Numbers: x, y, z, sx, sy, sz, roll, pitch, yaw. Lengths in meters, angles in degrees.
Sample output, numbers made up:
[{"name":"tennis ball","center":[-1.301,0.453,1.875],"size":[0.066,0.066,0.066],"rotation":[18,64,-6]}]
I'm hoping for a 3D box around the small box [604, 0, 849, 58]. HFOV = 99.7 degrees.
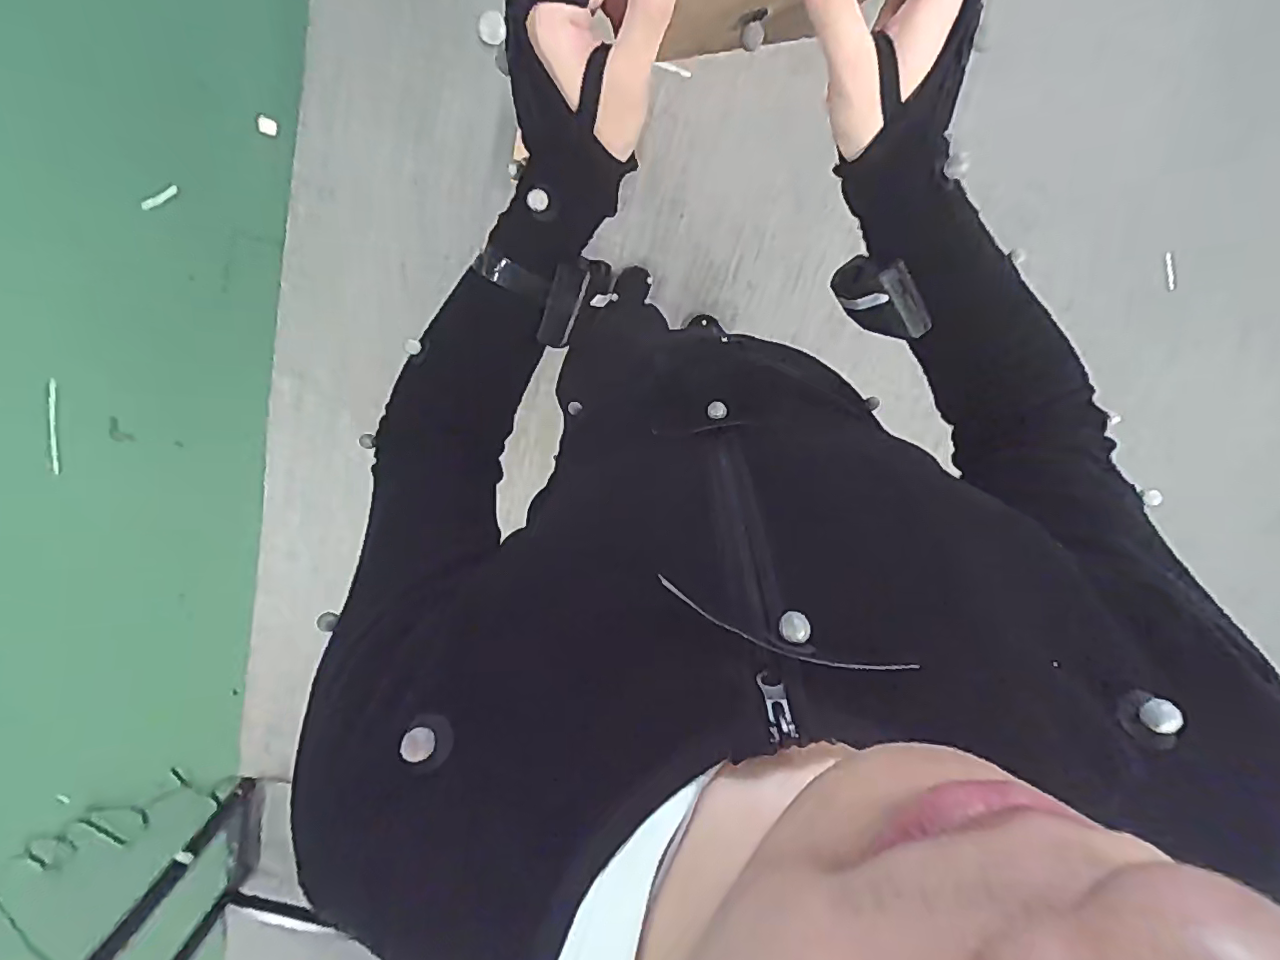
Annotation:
[{"name":"small box","center":[0.054,-0.370,0.308],"size":[0.168,0.176,0.179],"rotation":[-12,117,-1]}]
